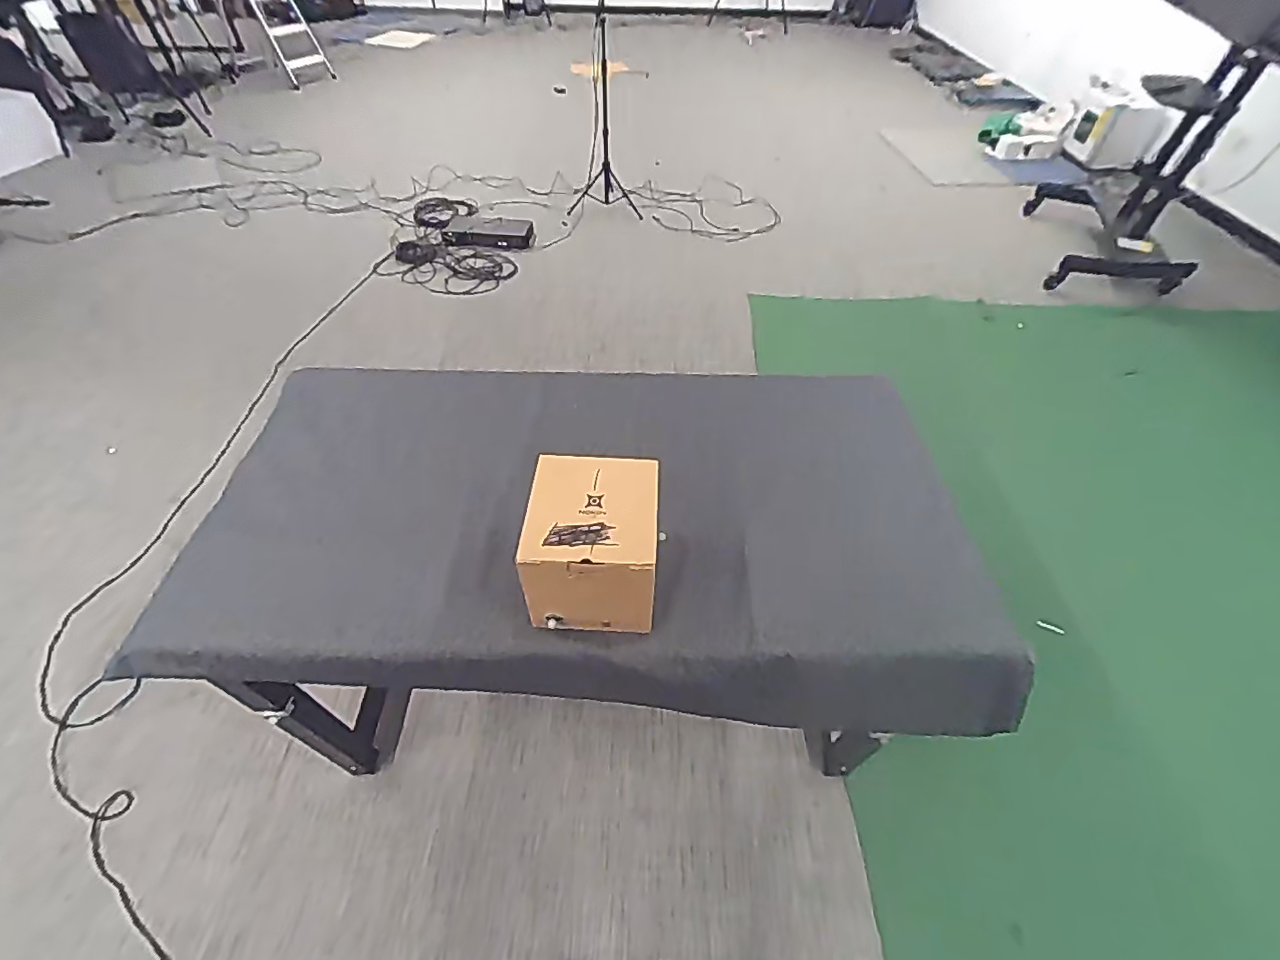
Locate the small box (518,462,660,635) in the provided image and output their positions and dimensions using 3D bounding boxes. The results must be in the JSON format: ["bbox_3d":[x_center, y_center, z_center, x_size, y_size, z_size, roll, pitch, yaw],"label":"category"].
[{"bbox_3d":[-0.061,0.099,0.753,0.168,0.176,0.179,4,47,1],"label":"small box"}]
